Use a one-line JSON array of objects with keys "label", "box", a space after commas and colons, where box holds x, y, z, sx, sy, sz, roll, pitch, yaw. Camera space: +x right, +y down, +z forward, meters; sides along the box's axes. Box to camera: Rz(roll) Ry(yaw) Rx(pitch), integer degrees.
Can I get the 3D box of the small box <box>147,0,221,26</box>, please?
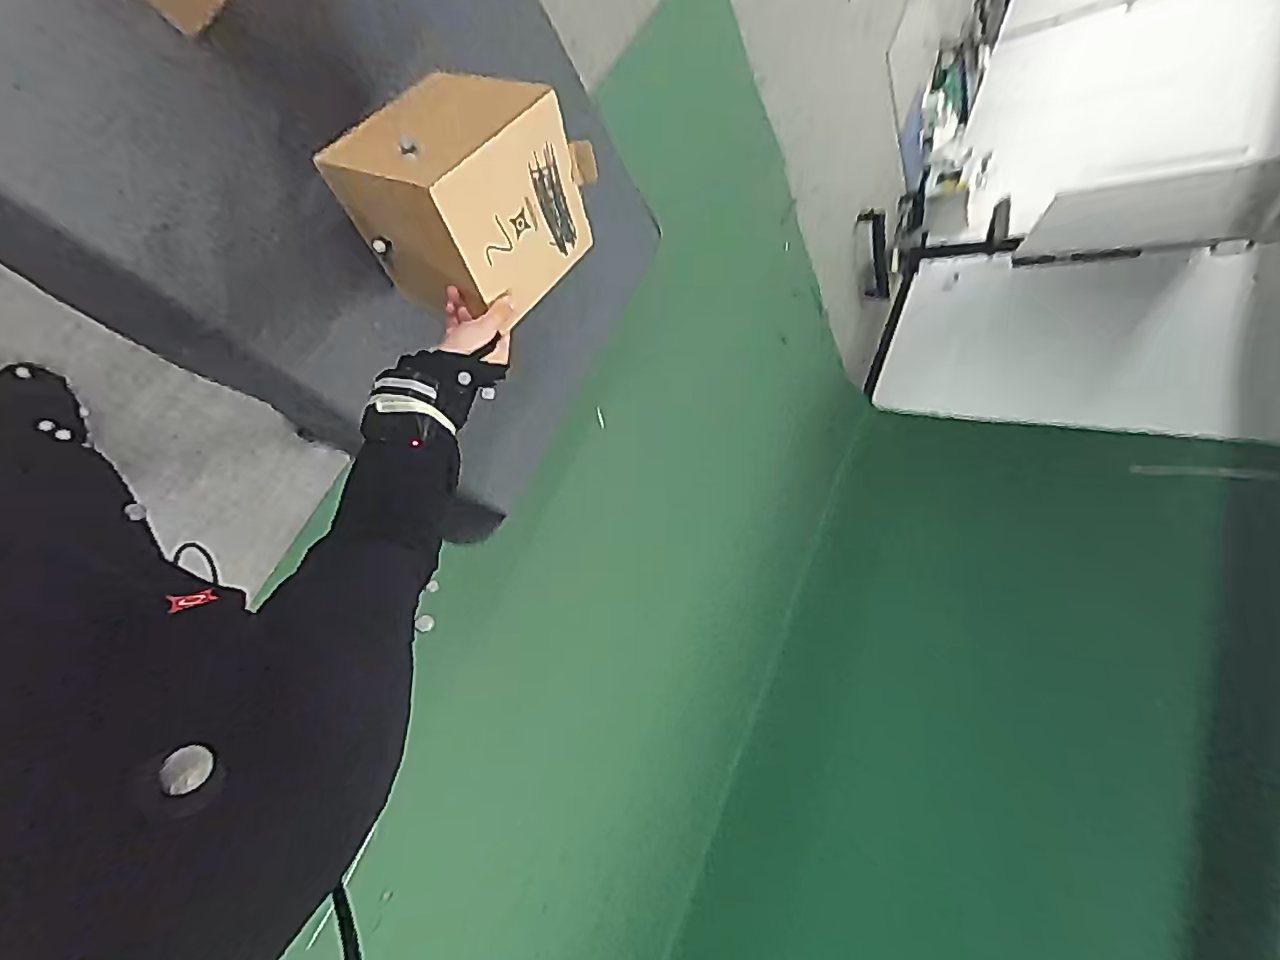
[{"label": "small box", "box": [-0.345, -0.491, 0.390, 0.168, 0.176, 0.179, 39, 69, -49]}]
